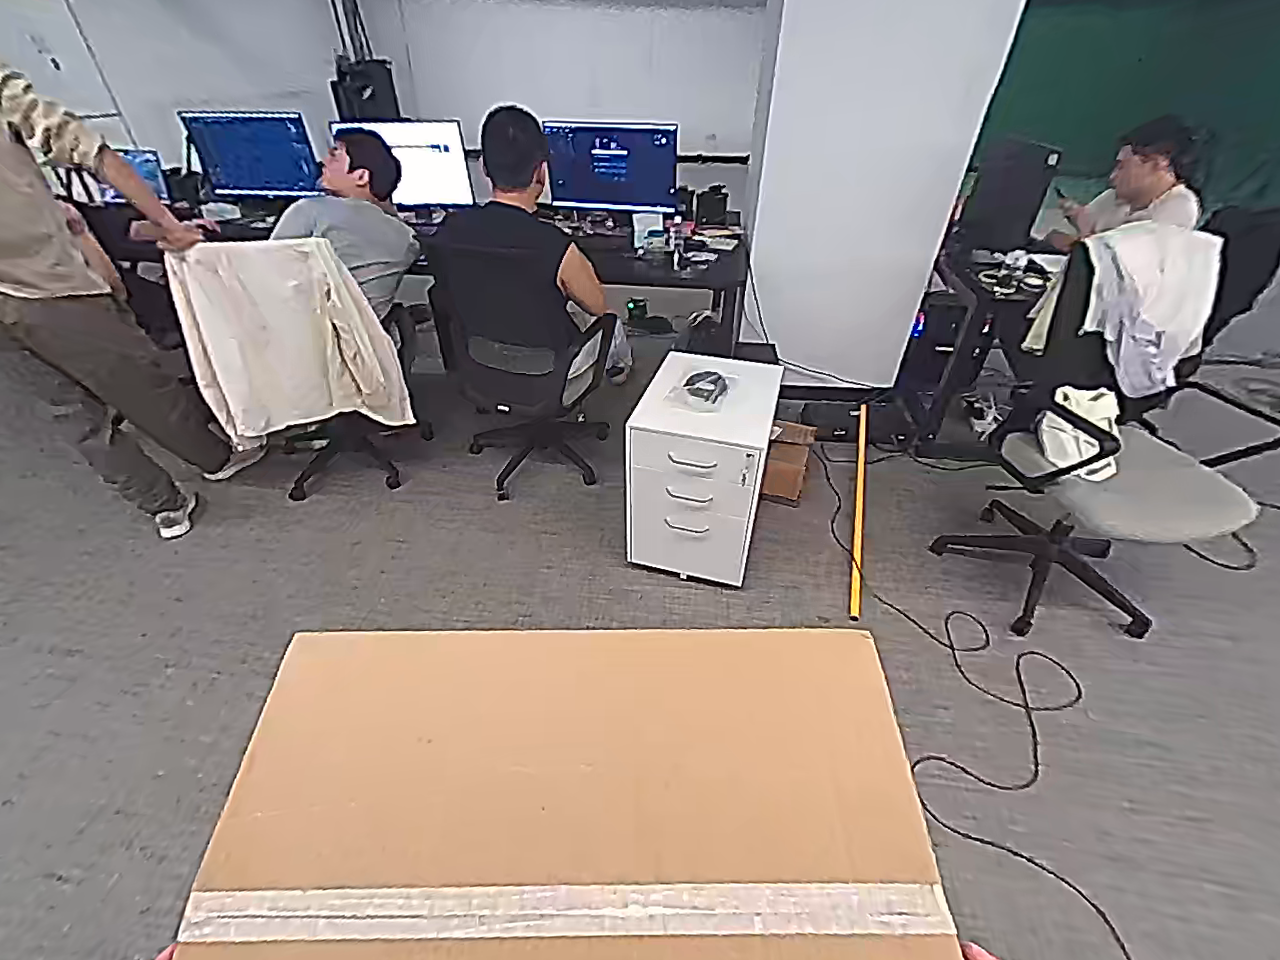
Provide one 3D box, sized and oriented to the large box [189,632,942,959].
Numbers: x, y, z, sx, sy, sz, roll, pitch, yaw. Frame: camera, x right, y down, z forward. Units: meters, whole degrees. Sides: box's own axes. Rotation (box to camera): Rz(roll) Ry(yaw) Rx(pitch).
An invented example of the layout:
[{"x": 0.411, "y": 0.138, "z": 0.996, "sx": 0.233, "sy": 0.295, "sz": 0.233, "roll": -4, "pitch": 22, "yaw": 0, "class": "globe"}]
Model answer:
[{"x": -0.039, "y": 0.325, "z": 0.416, "sx": 0.408, "sy": 0.320, "sz": 0.320, "roll": 0, "pitch": 54, "yaw": 0, "class": "large box"}]
